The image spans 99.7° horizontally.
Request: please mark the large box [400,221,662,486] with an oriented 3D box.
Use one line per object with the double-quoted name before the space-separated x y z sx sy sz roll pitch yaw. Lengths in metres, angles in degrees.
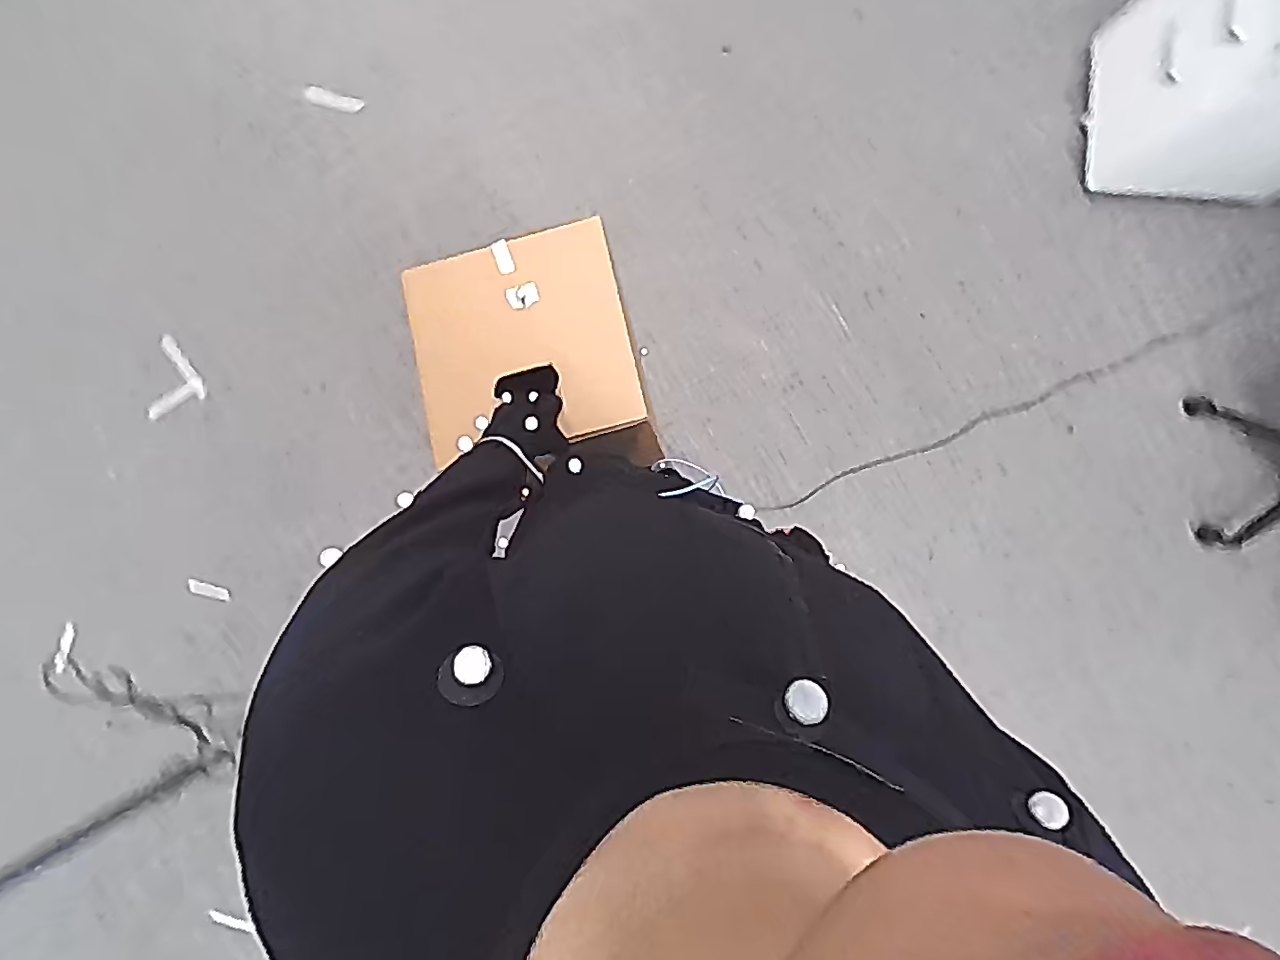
"large box" -0.161 -0.186 0.975 0.320 0.408 0.320 -13 84 6
